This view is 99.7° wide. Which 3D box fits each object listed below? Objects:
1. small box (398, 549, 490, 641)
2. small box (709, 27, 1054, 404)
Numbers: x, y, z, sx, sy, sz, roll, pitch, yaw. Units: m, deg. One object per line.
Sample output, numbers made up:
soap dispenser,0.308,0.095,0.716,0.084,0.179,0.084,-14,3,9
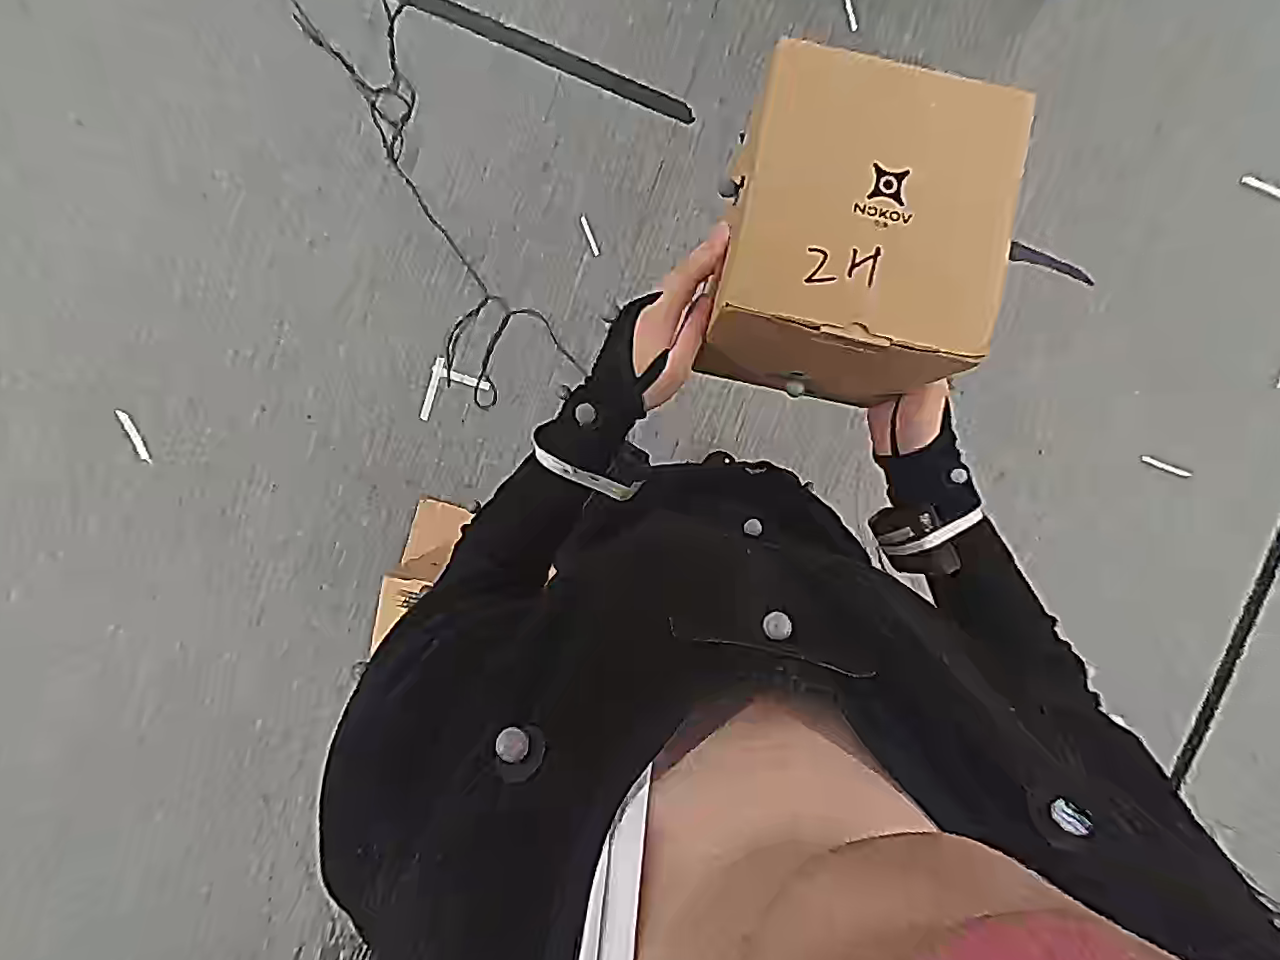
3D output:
small box,-0.496,0.288,1.394,0.168,0.176,0.179,13,94,-3
small box,0.155,-0.170,0.404,0.168,0.176,0.179,11,87,-1
